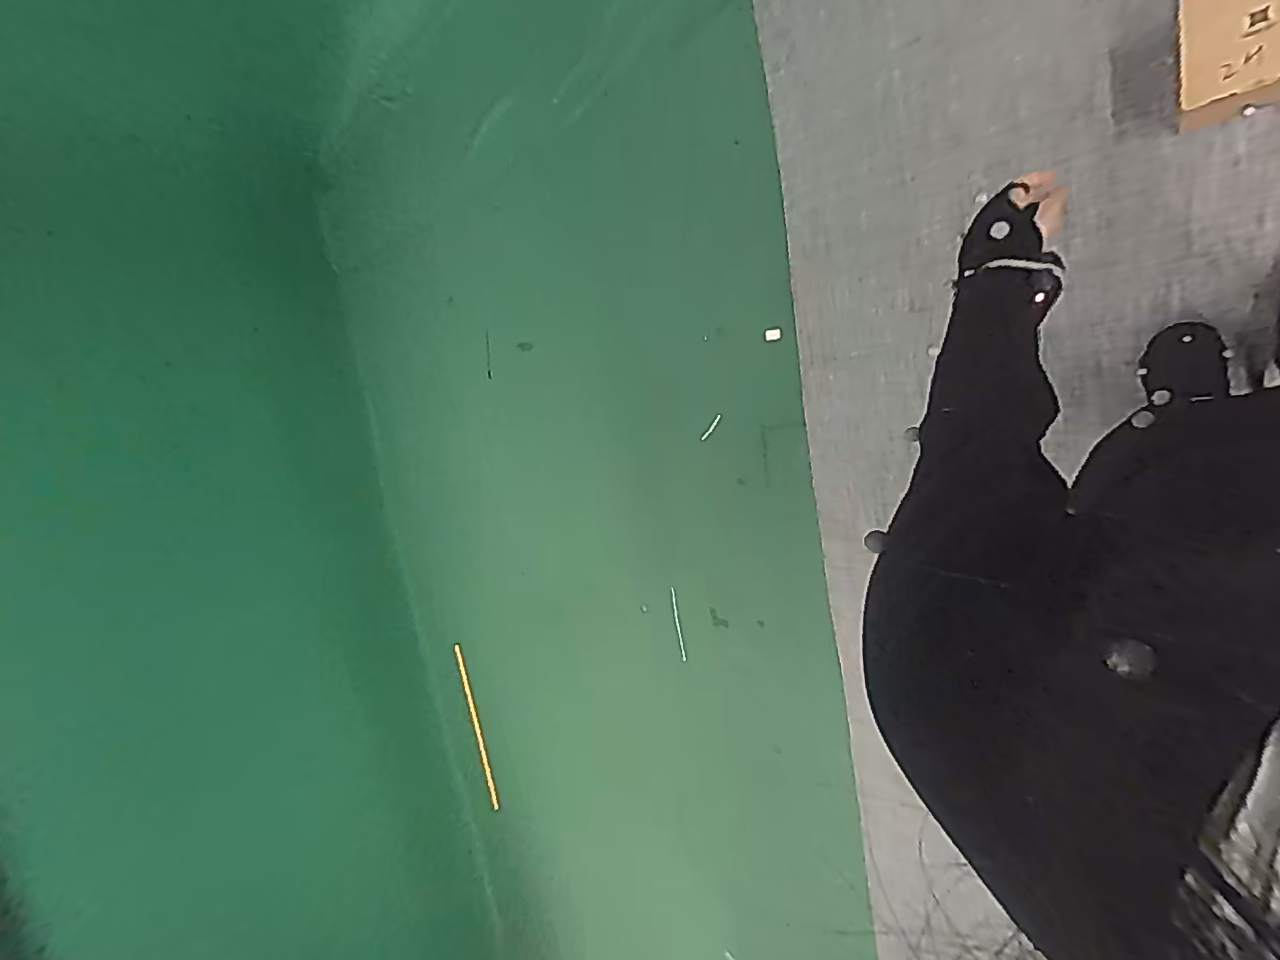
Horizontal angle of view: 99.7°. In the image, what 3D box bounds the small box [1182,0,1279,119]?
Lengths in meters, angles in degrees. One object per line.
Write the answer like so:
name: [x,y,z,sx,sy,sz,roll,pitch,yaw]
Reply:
small box: [0.981,-0.717,0.858,0.168,0.176,0.179,-2,104,45]
